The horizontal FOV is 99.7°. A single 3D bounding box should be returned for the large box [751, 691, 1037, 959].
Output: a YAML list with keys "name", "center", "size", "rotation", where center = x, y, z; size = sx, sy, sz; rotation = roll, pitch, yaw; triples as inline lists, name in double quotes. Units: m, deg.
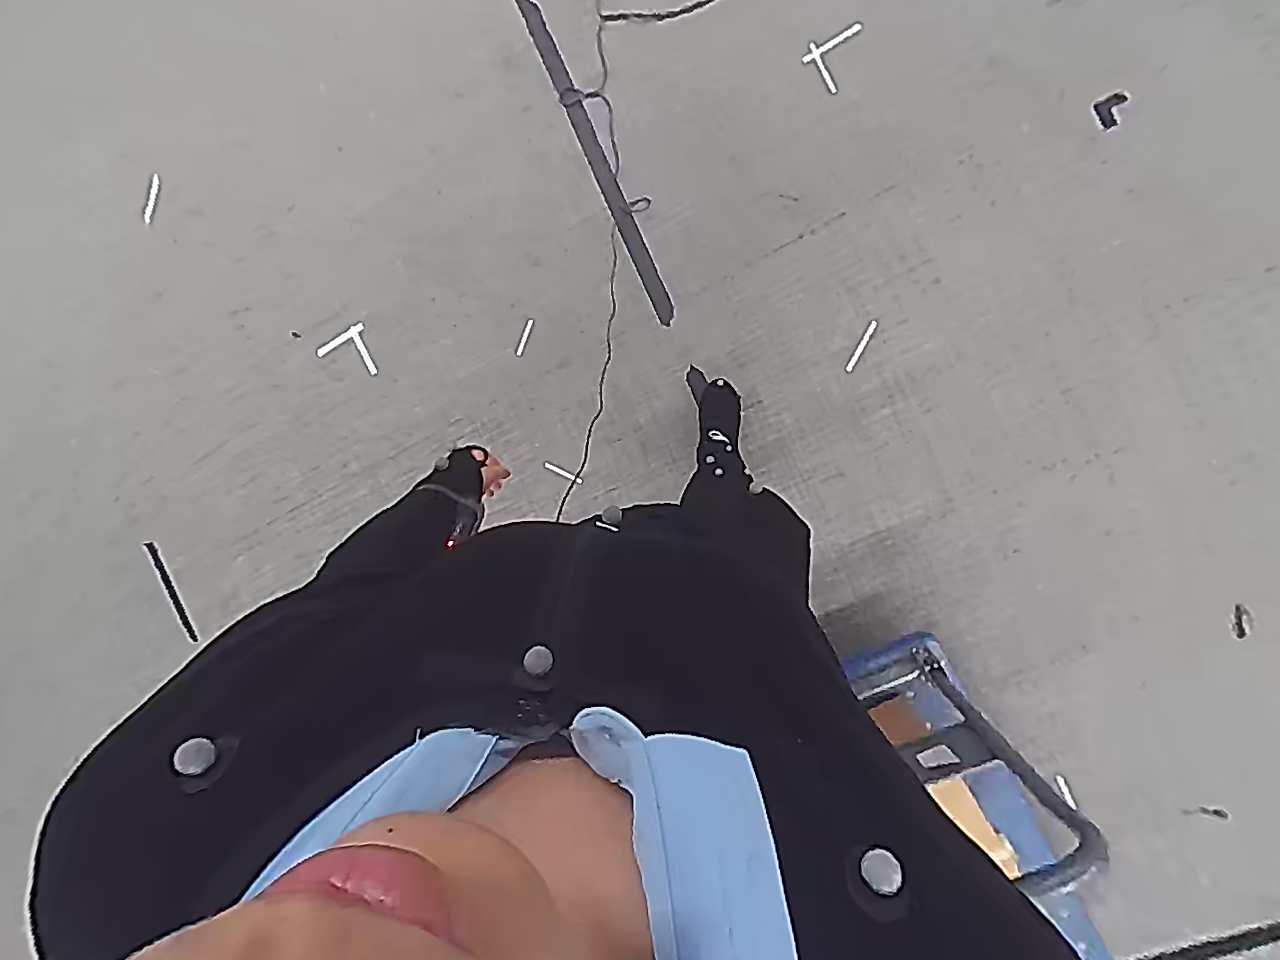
- name: "large box"
  center: [0.484, 0.723, 1.134]
  size: [0.408, 0.320, 0.320]
  rotation: [-32, 87, 11]
